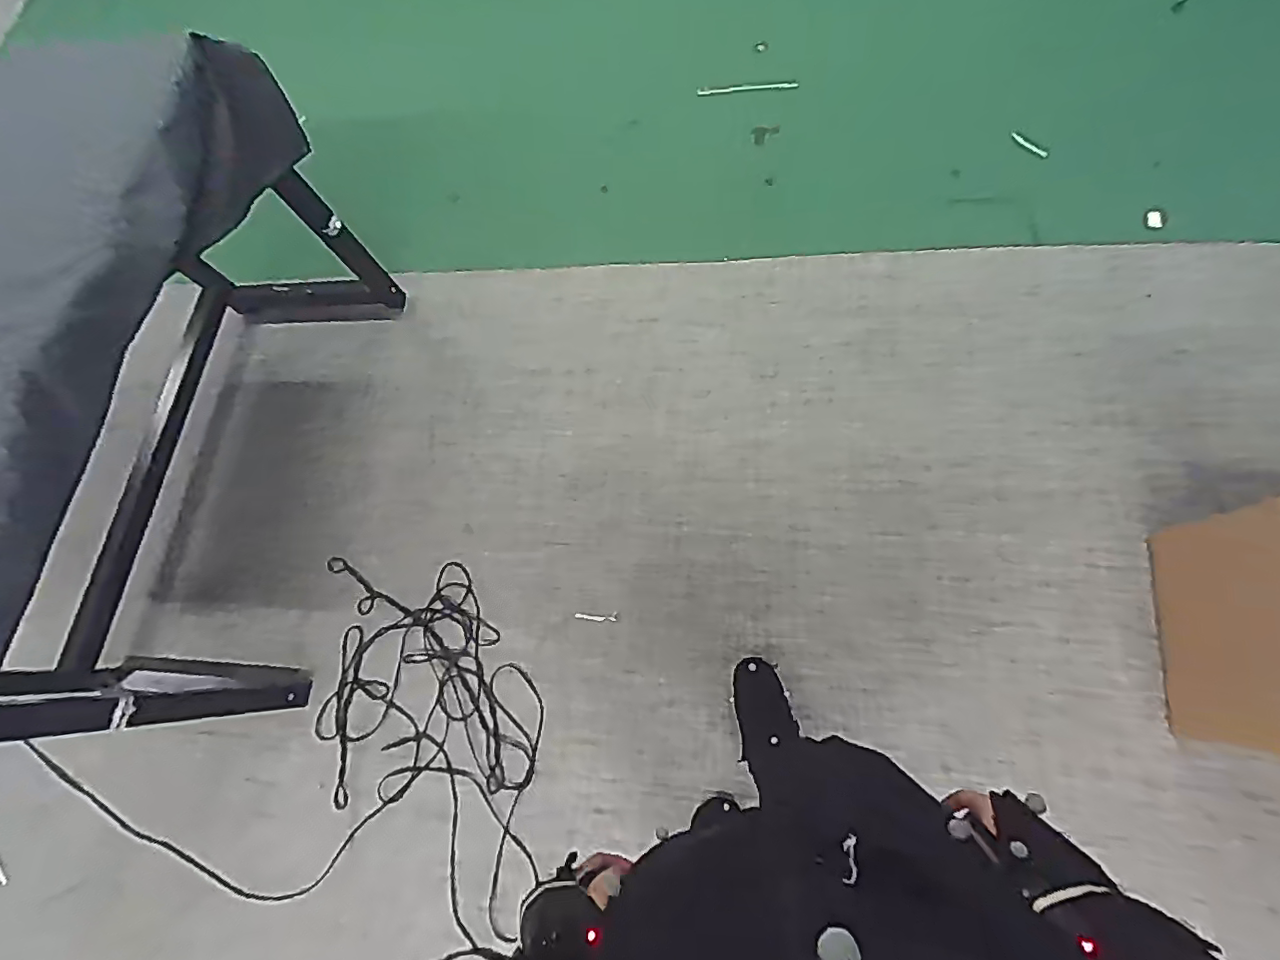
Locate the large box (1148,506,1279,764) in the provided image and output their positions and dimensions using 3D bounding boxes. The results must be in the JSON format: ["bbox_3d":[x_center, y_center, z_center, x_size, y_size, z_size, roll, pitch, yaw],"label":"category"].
[{"bbox_3d":[1.171,0.279,0.922,0.320,0.320,0.408,5,74,11],"label":"large box"}]
